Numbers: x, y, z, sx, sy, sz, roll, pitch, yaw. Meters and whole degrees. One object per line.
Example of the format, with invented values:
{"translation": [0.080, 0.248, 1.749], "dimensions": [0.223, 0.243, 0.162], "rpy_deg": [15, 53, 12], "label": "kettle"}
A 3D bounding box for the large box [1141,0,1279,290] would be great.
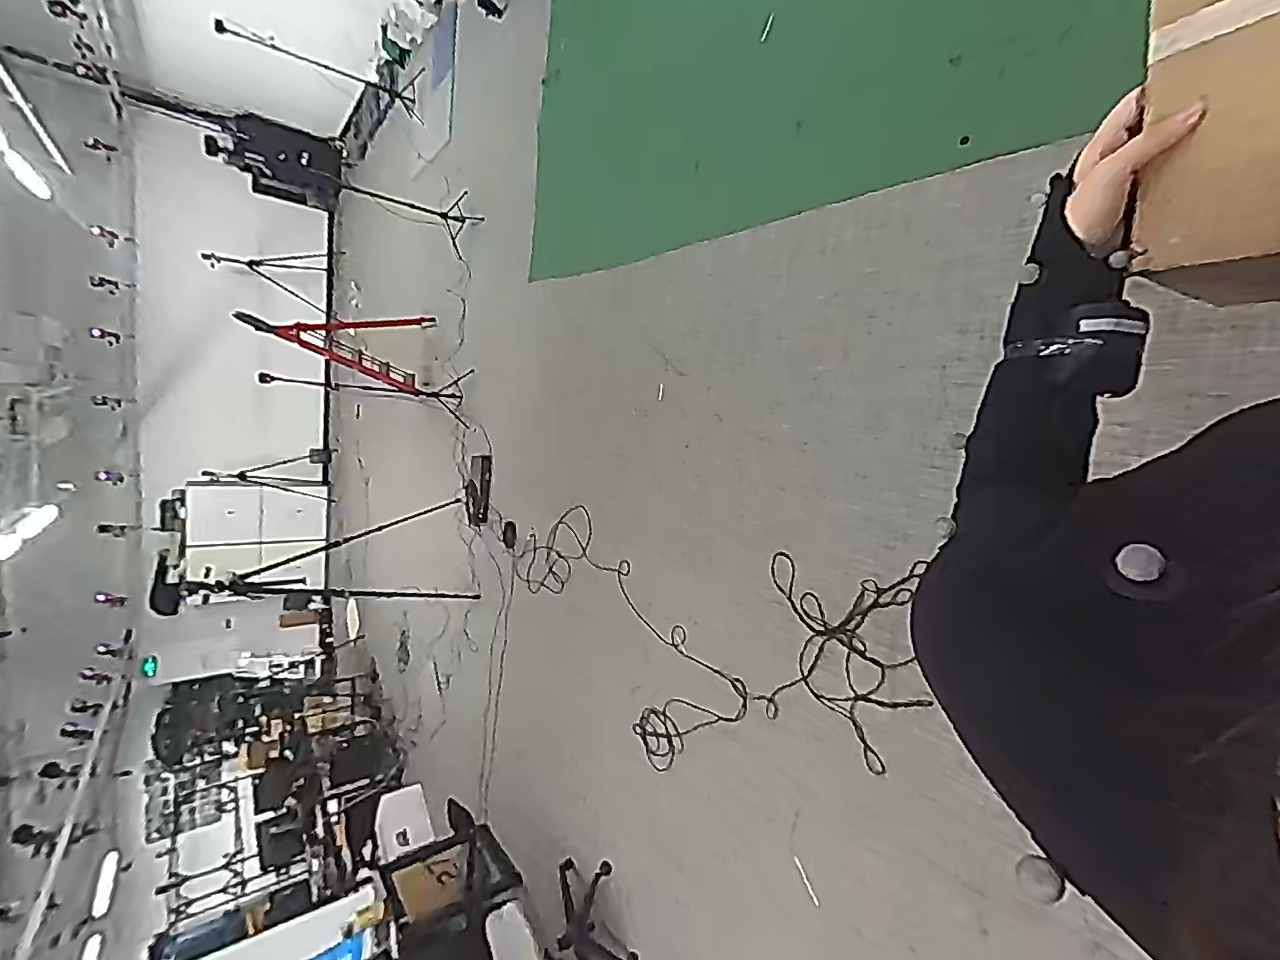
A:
{"translation": [0.622, -0.315, 0.319], "dimensions": [0.408, 0.320, 0.320], "rpy_deg": [11, 105, 56], "label": "large box"}
